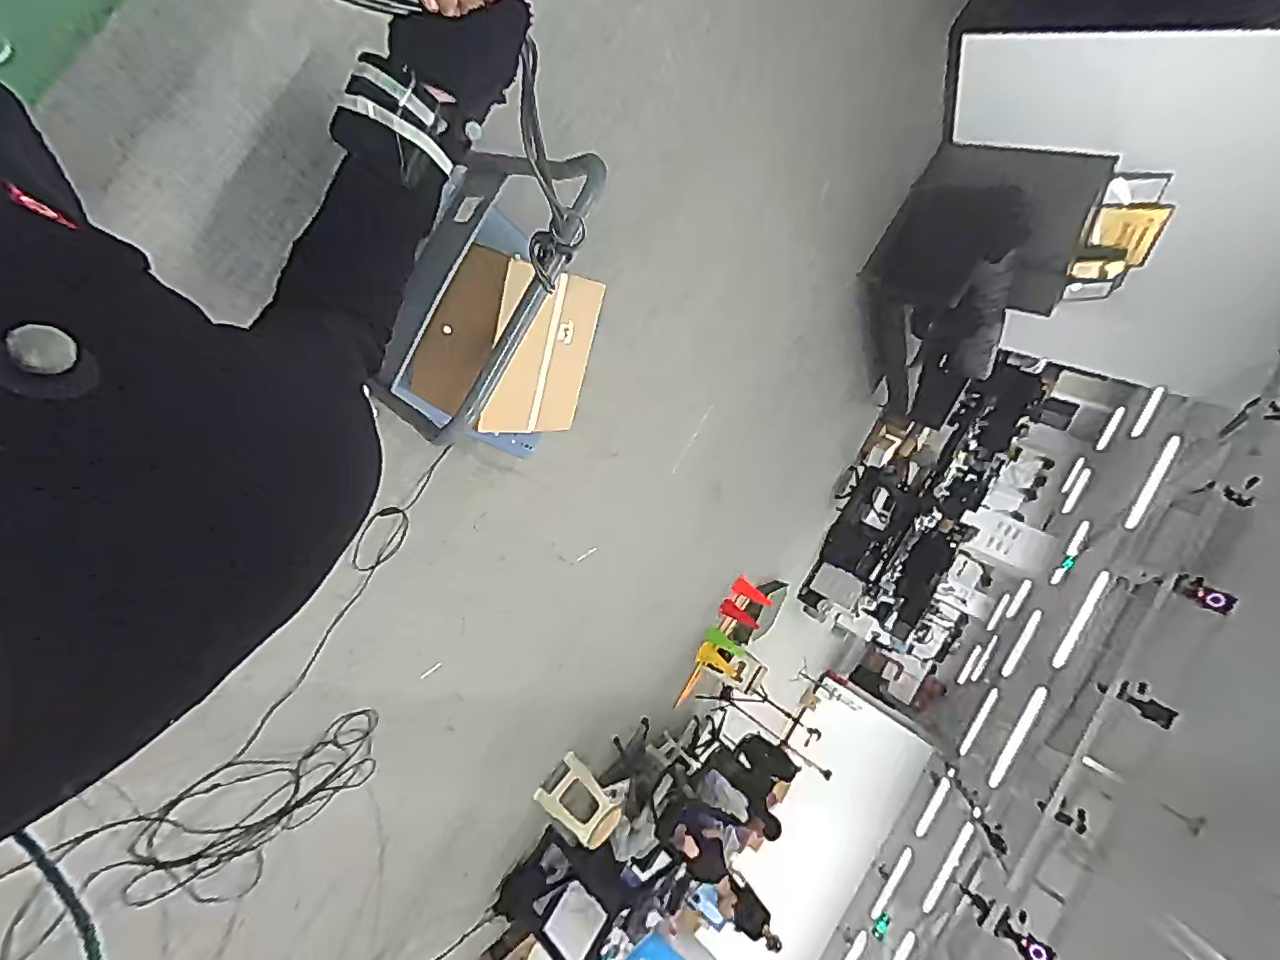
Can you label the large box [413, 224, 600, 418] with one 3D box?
[{"bbox_3d":[-0.357,-0.400,1.414,0.320,0.320,0.408,-9,121,-52],"label":"large box"}]
